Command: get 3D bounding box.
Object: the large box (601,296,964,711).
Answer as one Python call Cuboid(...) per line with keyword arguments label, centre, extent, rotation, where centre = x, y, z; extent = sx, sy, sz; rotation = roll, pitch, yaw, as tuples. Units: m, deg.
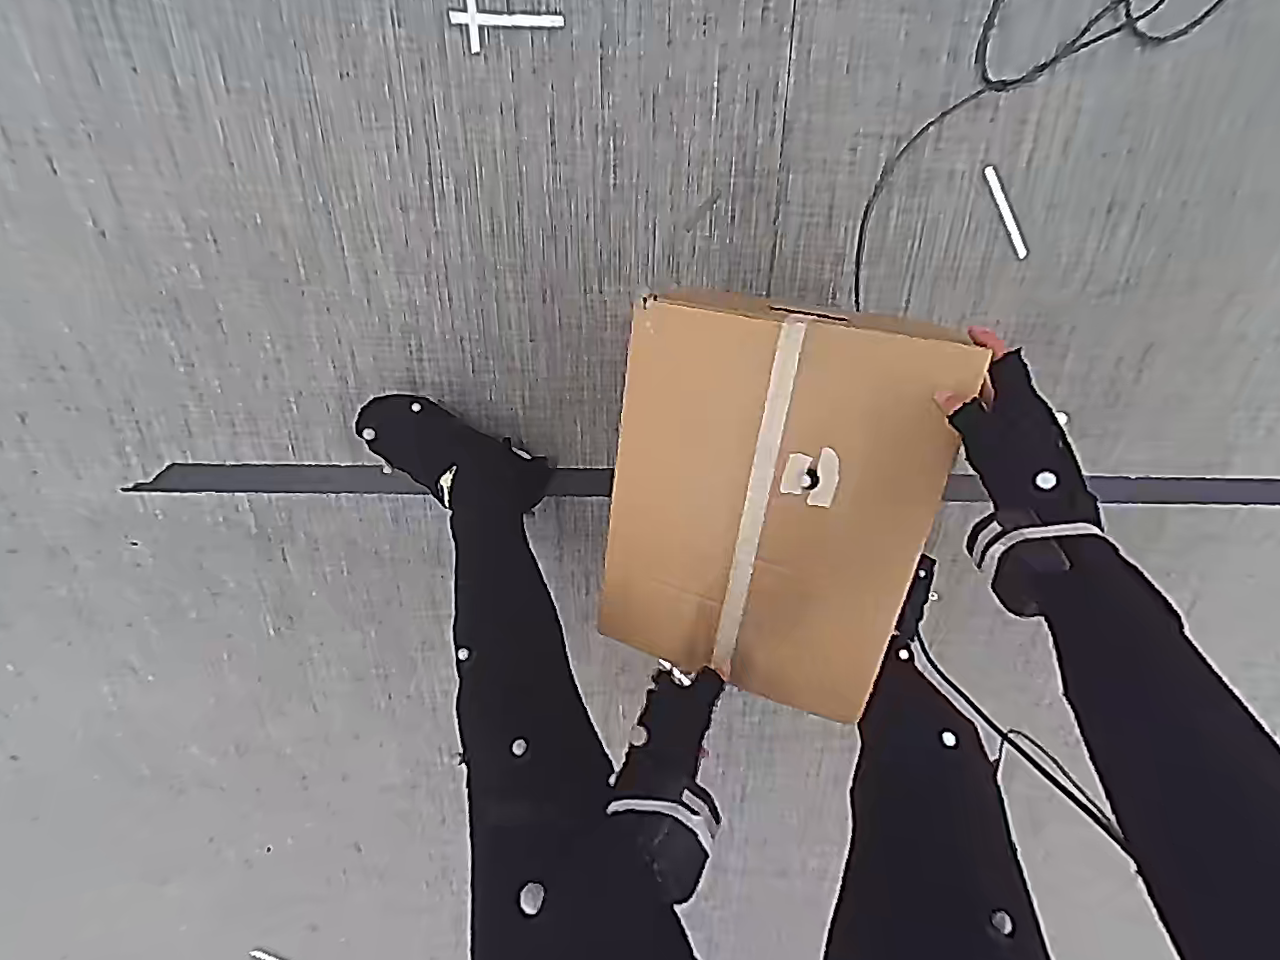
Cuboid(label="large box", centre=(0.168, -0.007, 0.698), extent=(0.320, 0.320, 0.408), rotation=(15, 112, 18))
